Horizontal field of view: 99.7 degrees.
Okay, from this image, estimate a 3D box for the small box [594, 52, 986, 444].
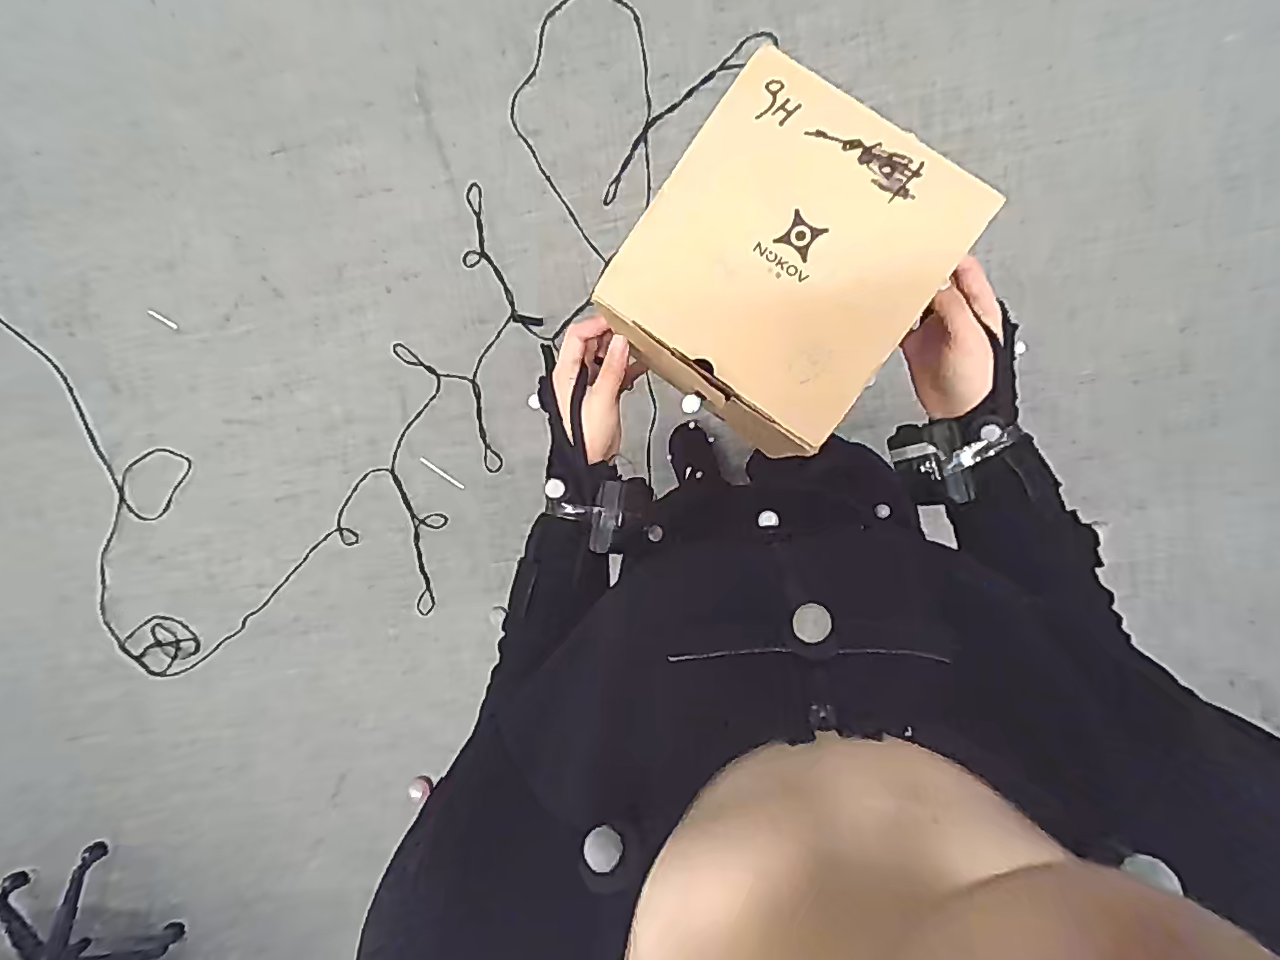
[{"bbox_3d":[0.094,-0.139,0.399,0.168,0.176,0.179,36,95,4],"label":"small box"}]
